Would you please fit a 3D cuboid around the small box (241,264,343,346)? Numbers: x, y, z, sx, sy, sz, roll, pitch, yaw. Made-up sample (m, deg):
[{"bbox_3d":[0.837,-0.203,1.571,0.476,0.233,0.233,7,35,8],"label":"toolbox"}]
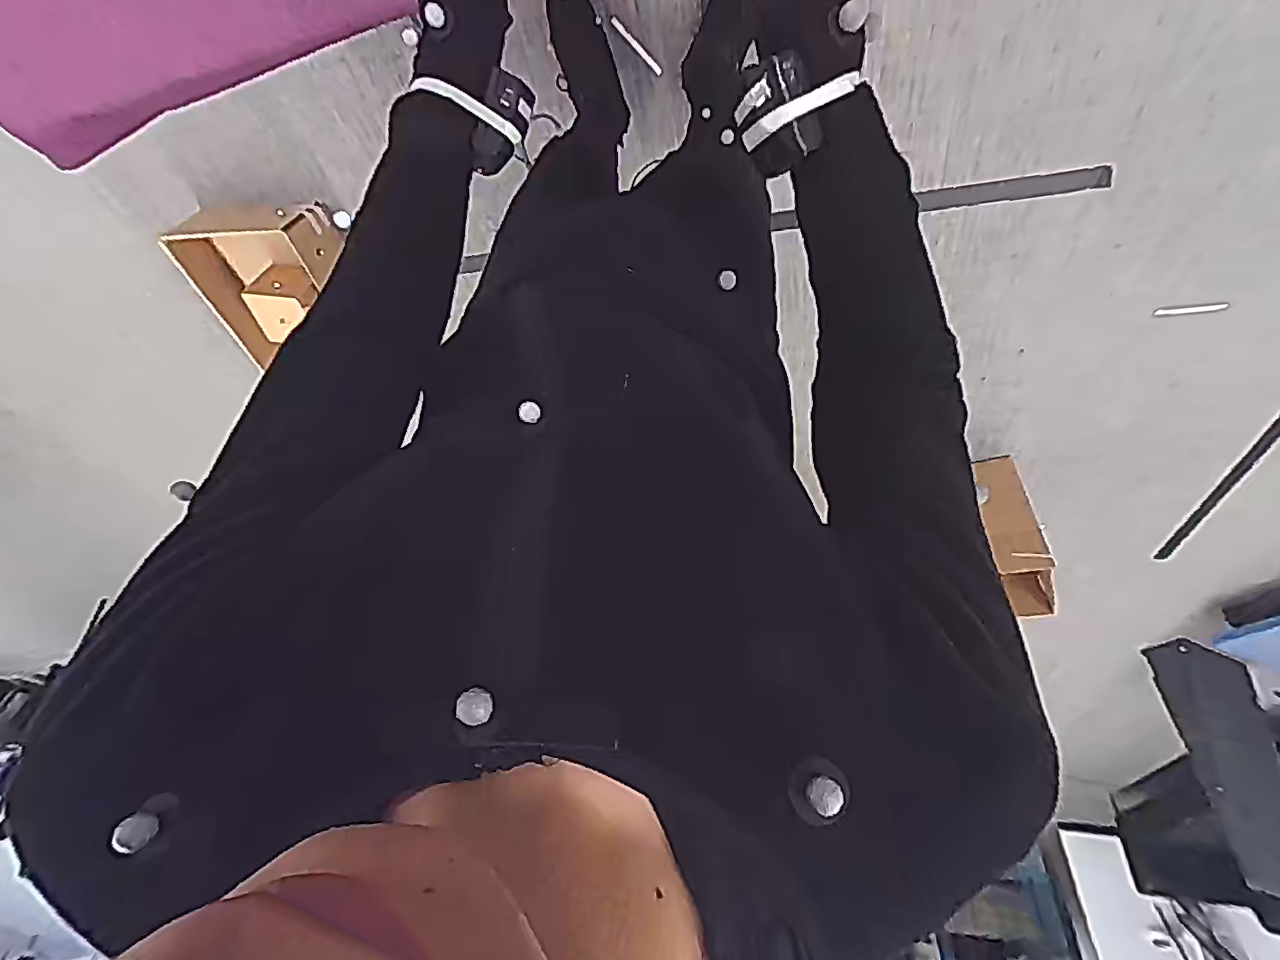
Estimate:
[{"bbox_3d":[-1.022,-0.524,1.614,0.179,0.176,0.168,6,141,4],"label":"small box"}]
